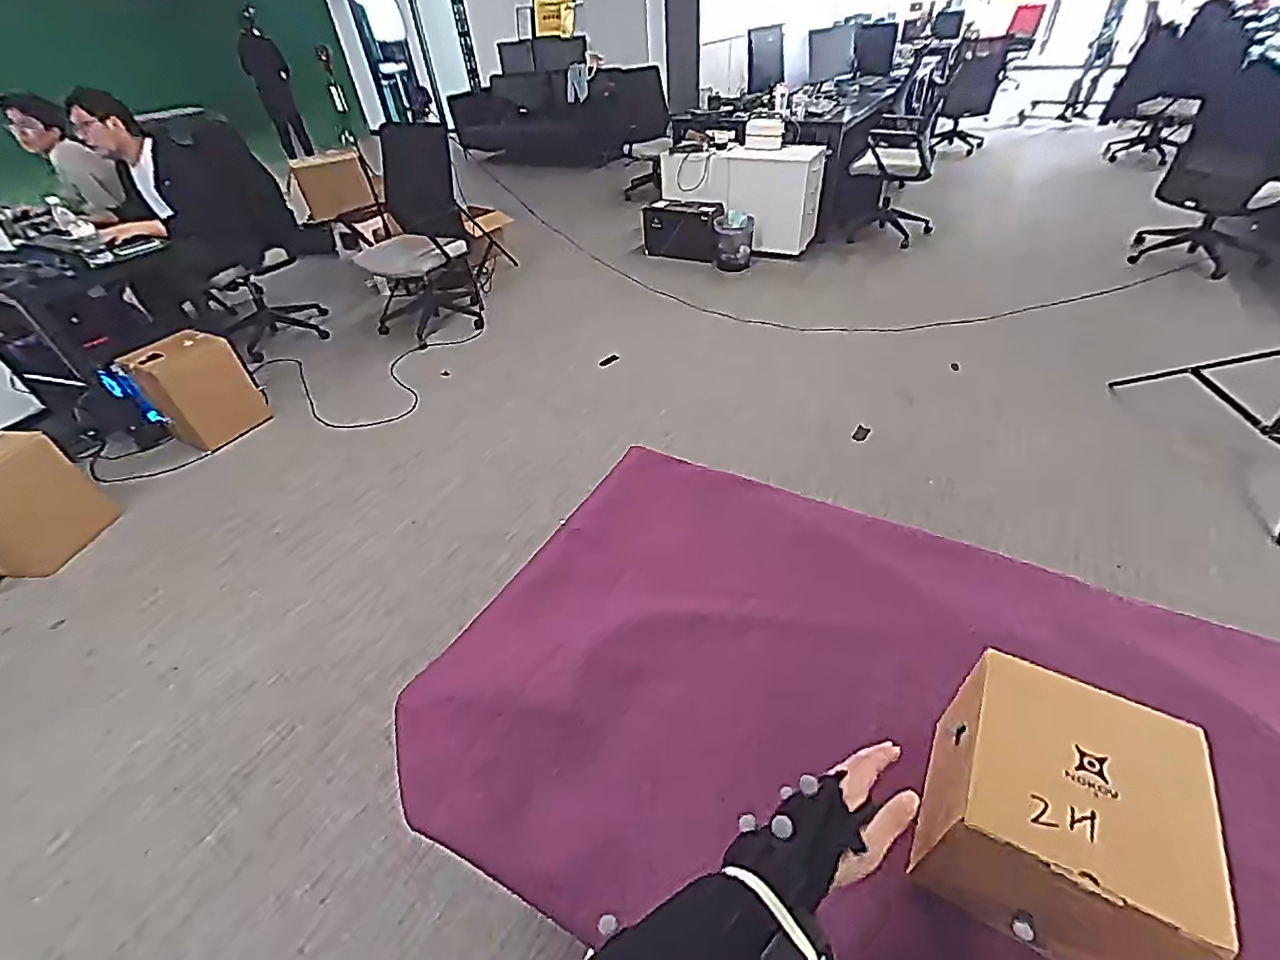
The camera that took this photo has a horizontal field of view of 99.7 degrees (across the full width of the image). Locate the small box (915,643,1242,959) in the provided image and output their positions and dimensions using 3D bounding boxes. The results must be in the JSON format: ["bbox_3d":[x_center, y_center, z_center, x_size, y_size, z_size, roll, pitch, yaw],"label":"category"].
[{"bbox_3d":[0.368,0.290,0.487,0.168,0.176,0.179,19,47,26],"label":"small box"}]
